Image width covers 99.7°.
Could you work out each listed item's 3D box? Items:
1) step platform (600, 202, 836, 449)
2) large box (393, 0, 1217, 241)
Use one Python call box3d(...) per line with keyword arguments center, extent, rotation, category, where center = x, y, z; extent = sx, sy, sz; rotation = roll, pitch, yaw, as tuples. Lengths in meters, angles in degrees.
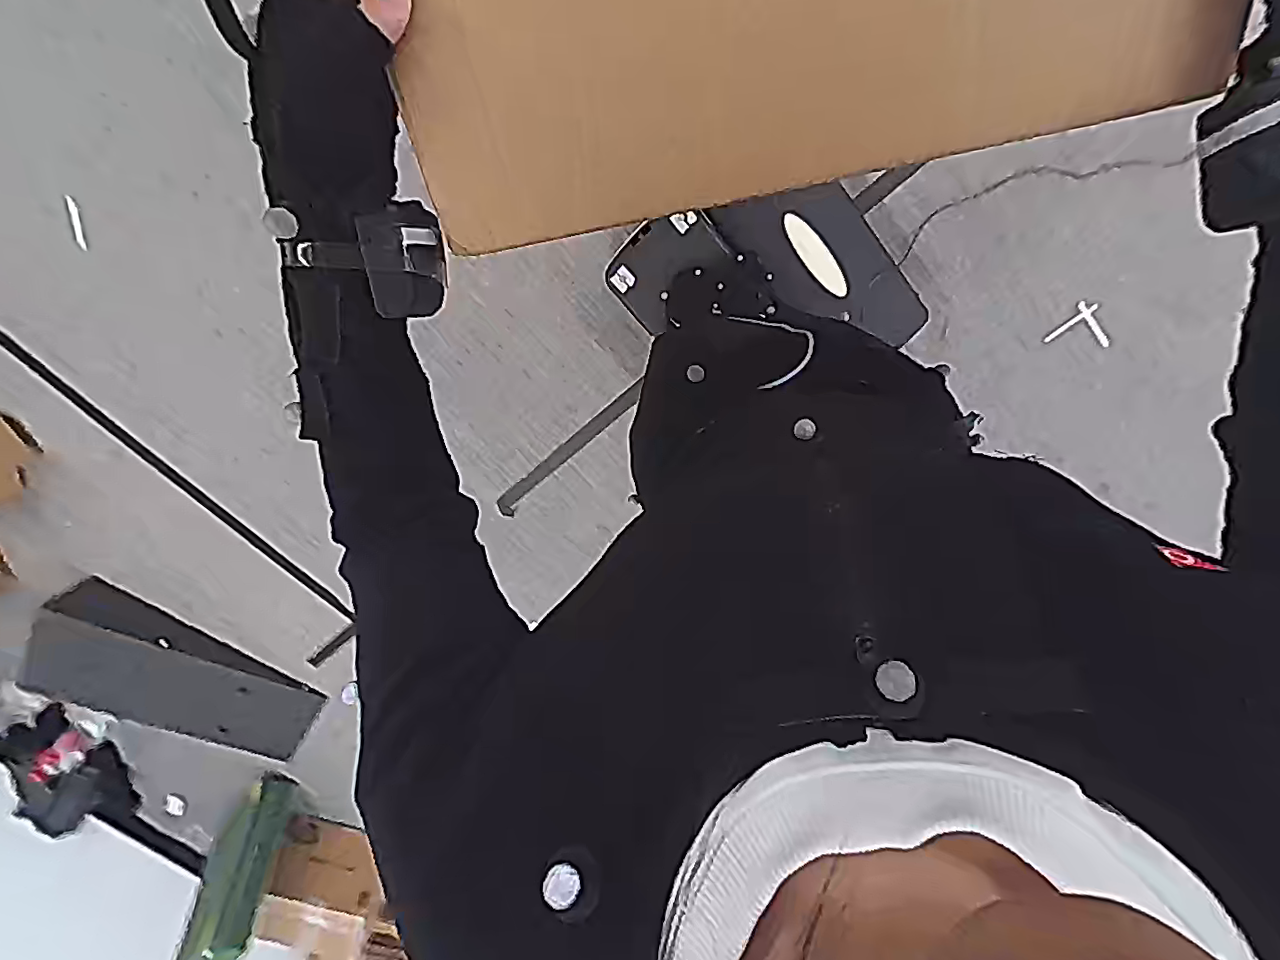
box3d(center=(0.210, -0.406, 1.431), extent=(0.286, 0.204, 0.684), rotation=(-40, 104, 19), category="step platform")
box3d(center=(0.068, -0.379, 0.362), extent=(0.408, 0.320, 0.320), rotation=(-7, 120, 9), category="large box")
